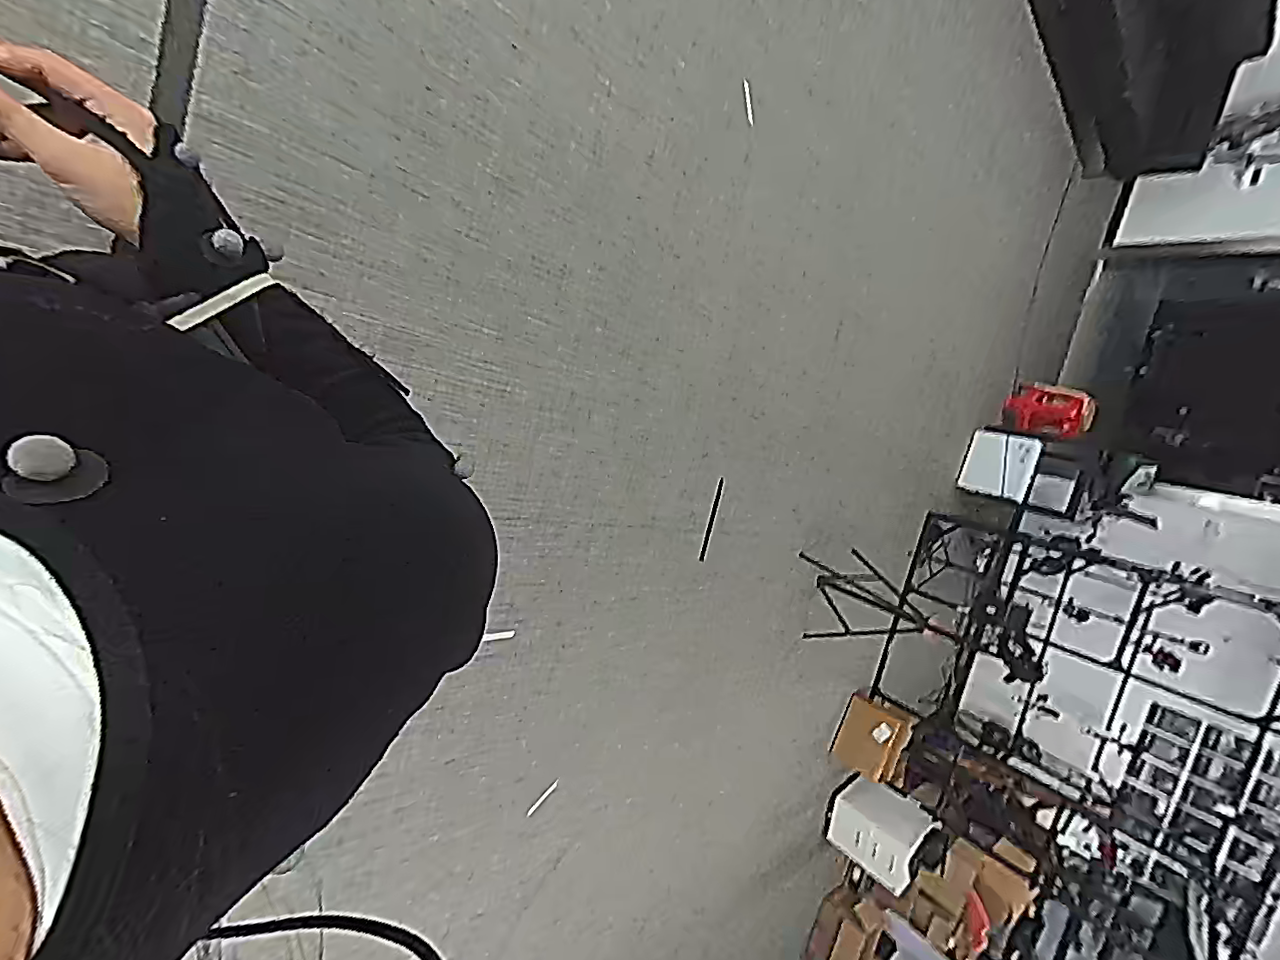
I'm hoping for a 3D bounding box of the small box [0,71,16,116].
[{"bbox_3d":[-0.441,-0.265,0.235,0.168,0.176,0.179,-30,133,-37],"label":"small box"}]
